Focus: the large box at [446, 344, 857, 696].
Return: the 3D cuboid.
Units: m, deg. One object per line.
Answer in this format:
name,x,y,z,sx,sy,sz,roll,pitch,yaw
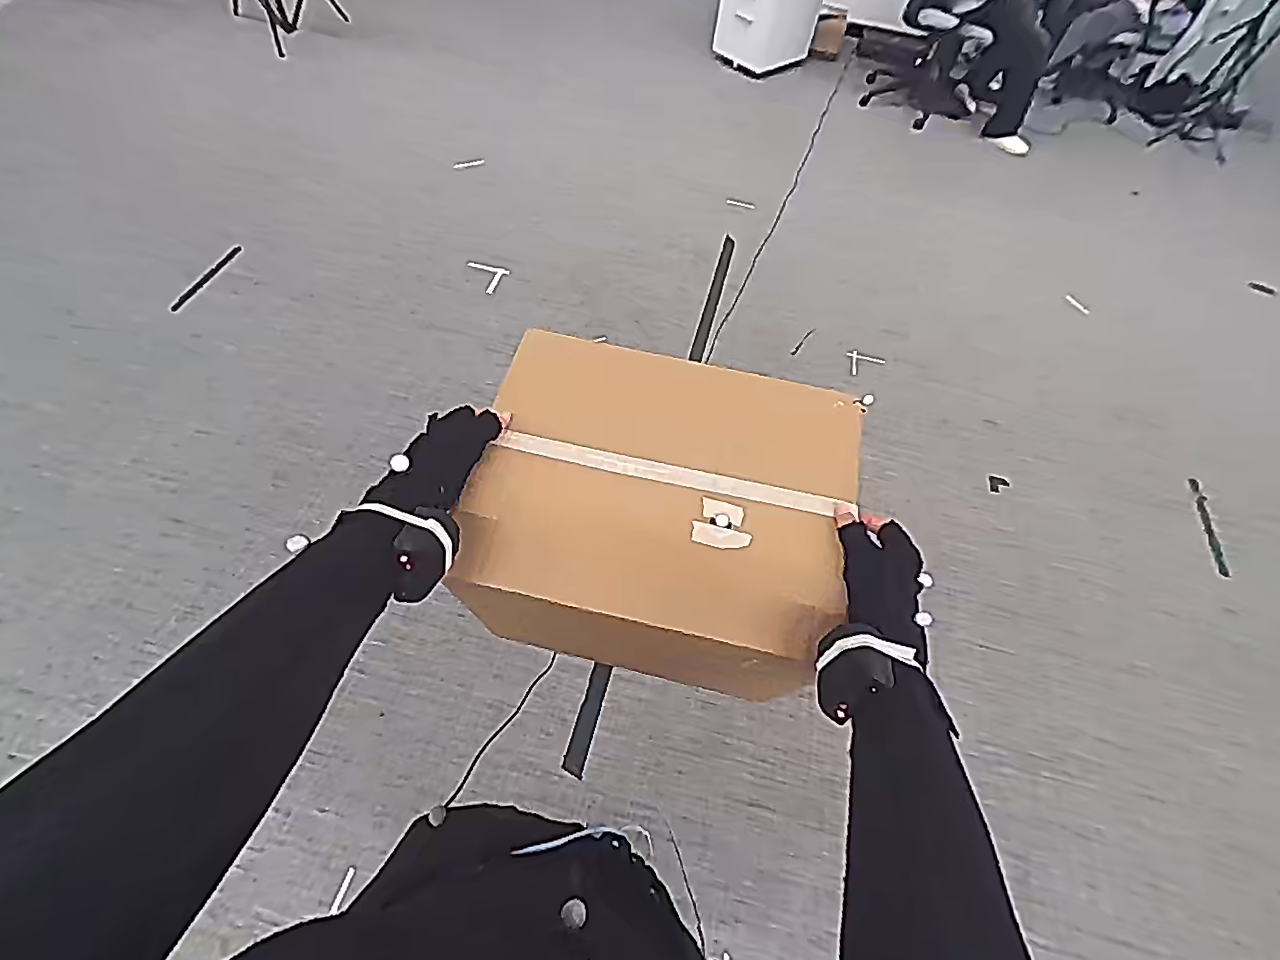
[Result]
large box,0.024,0.070,0.717,0.408,0.320,0.320,13,64,4
